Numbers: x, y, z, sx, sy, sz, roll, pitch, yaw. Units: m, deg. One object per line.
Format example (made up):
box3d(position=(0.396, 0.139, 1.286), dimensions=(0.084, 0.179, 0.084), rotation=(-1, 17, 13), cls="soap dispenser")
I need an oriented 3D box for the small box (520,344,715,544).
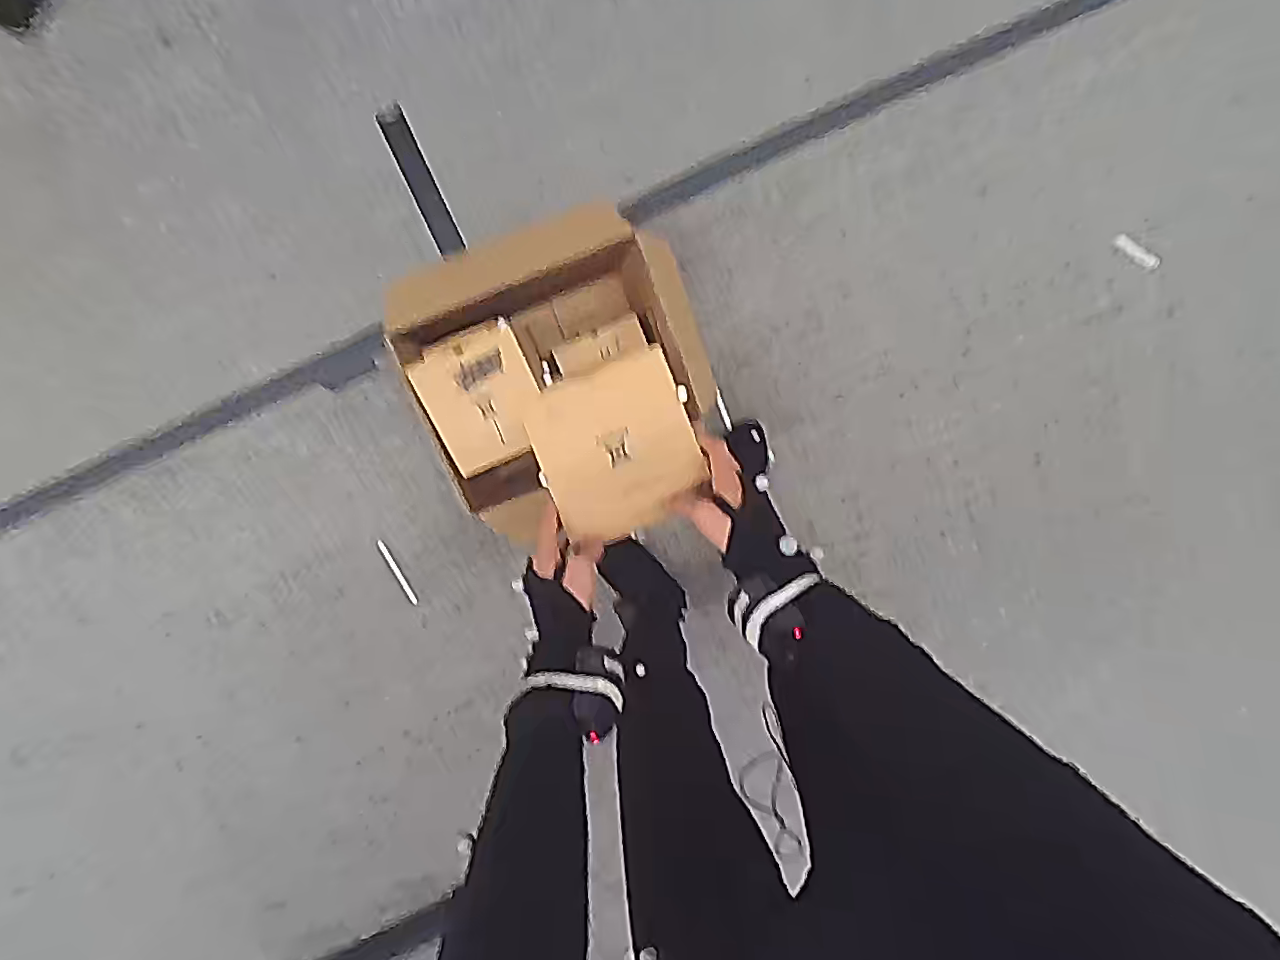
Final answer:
box3d(position=(-0.022, -0.034, 0.651), dimensions=(0.168, 0.176, 0.179), rotation=(-21, 87, 2), cls="small box")
